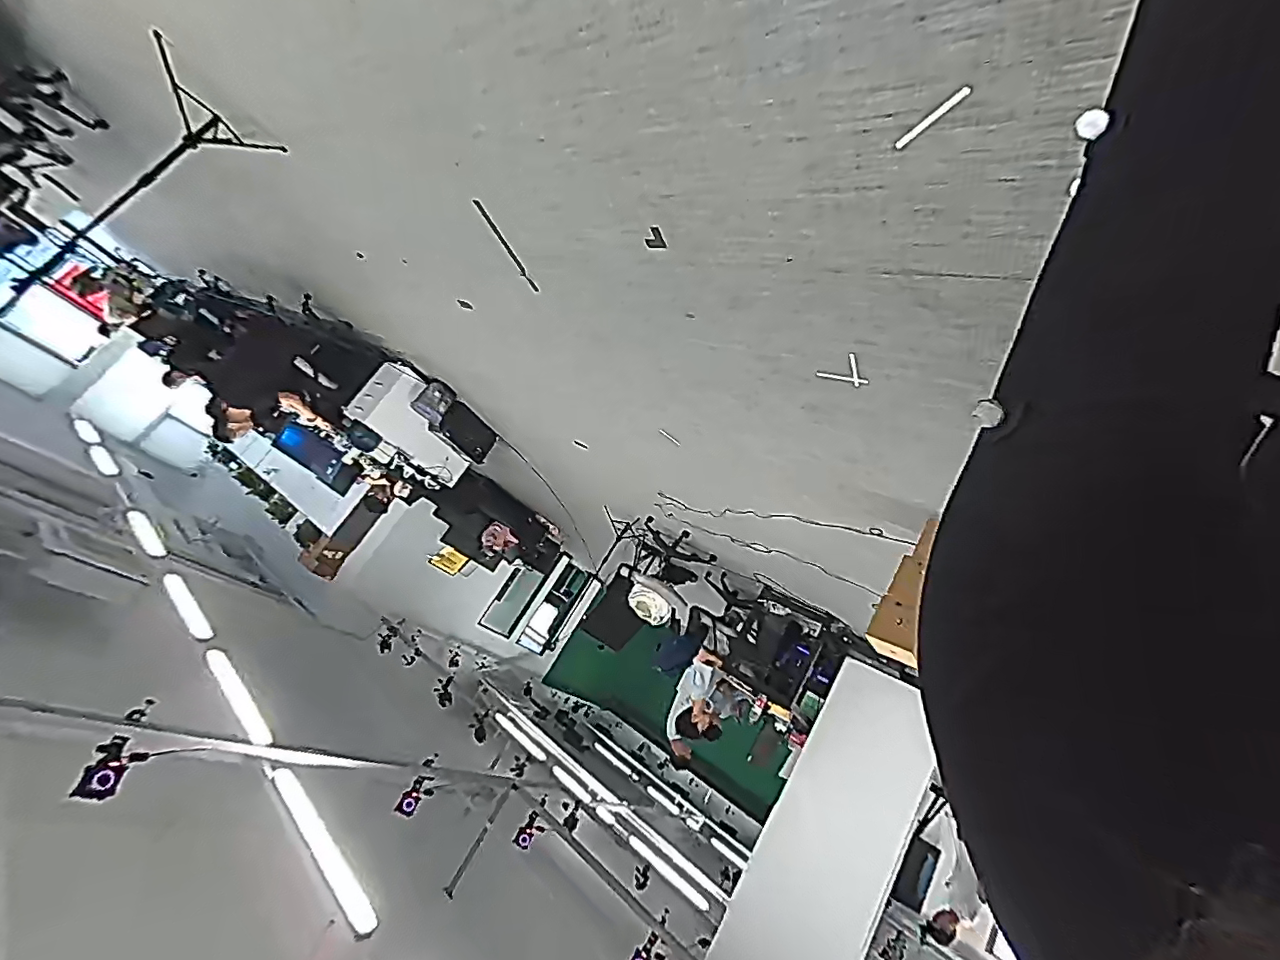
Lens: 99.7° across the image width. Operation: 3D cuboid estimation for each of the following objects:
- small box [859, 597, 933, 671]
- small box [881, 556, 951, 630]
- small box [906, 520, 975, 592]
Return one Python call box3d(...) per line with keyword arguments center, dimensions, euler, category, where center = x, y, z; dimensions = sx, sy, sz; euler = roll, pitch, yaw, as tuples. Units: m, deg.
box3d(center=(0.903, 0.536, 1.901), dimensions=(0.168, 0.176, 0.179), euler=(16, 157, 47), category="small box")
box3d(center=(0.992, 0.402, 1.937), dimensions=(0.168, 0.176, 0.179), euler=(17, 156, 44), category="small box")
box3d(center=(1.095, 0.273, 1.962), dimensions=(0.168, 0.176, 0.179), euler=(17, 157, 45), category="small box")
